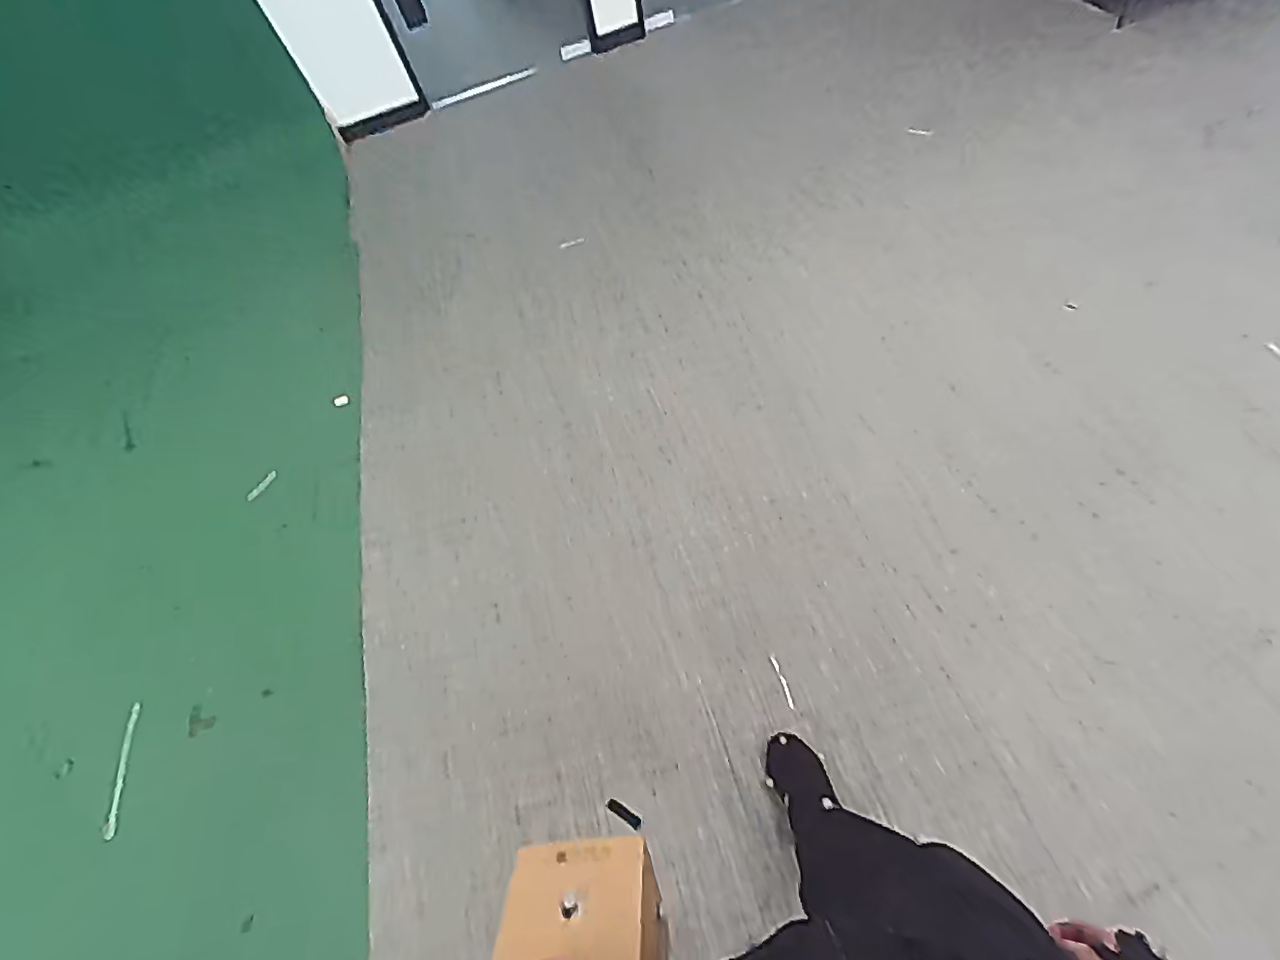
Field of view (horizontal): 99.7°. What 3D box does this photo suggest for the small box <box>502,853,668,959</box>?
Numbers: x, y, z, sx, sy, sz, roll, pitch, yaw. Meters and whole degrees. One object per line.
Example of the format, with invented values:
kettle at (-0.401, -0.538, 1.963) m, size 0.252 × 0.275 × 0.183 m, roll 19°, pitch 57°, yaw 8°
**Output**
small box at (-0.059, 0.570, 0.630) m, size 0.168 × 0.179 × 0.176 m, roll -10°, pitch 20°, yaw 4°
